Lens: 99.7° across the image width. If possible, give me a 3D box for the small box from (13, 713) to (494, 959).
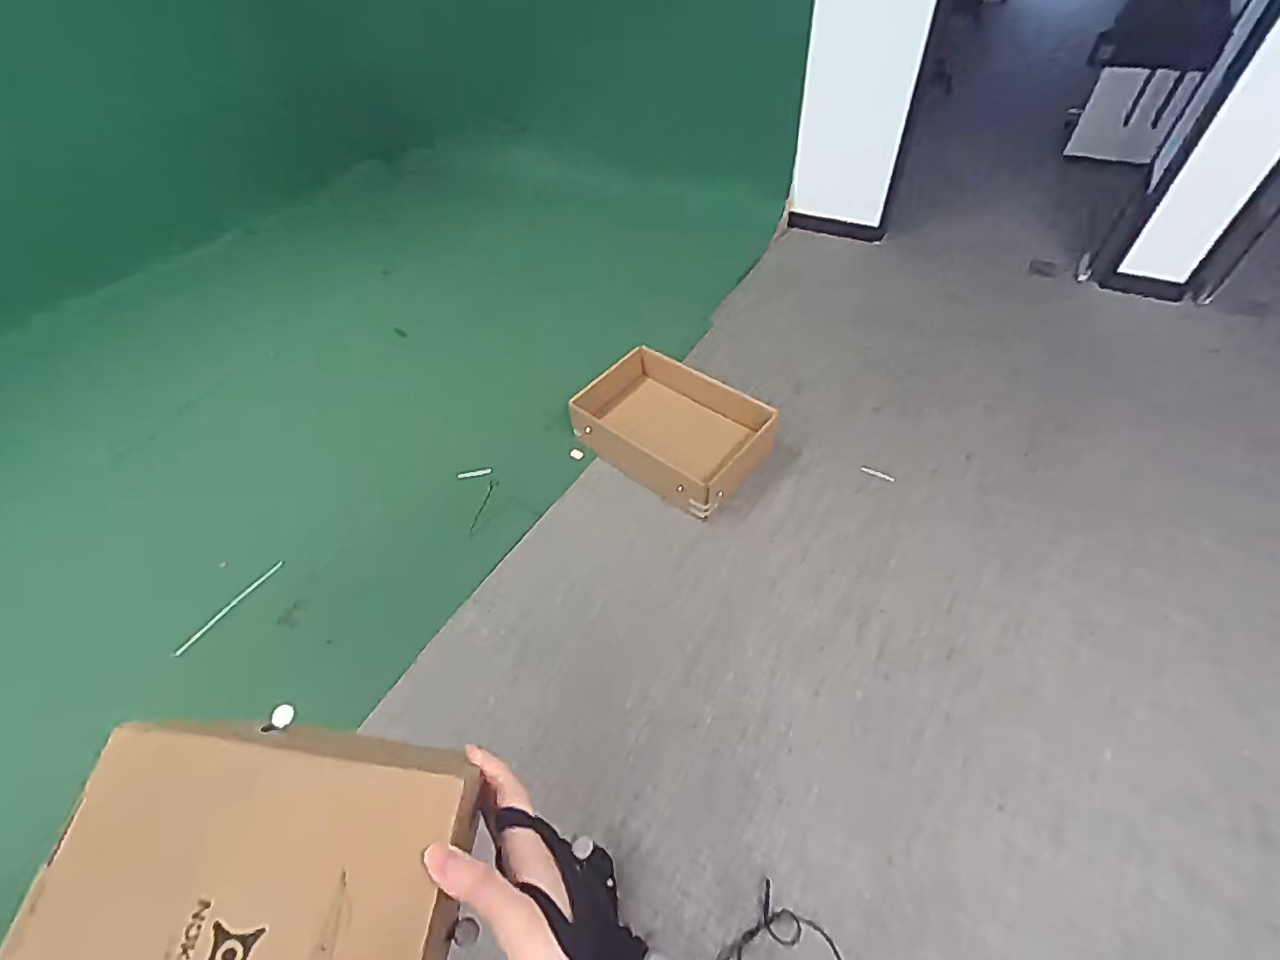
[{"bbox_3d":[-0.197,0.242,0.320,0.179,0.176,0.168,12,66,-5],"label":"small box"}]
